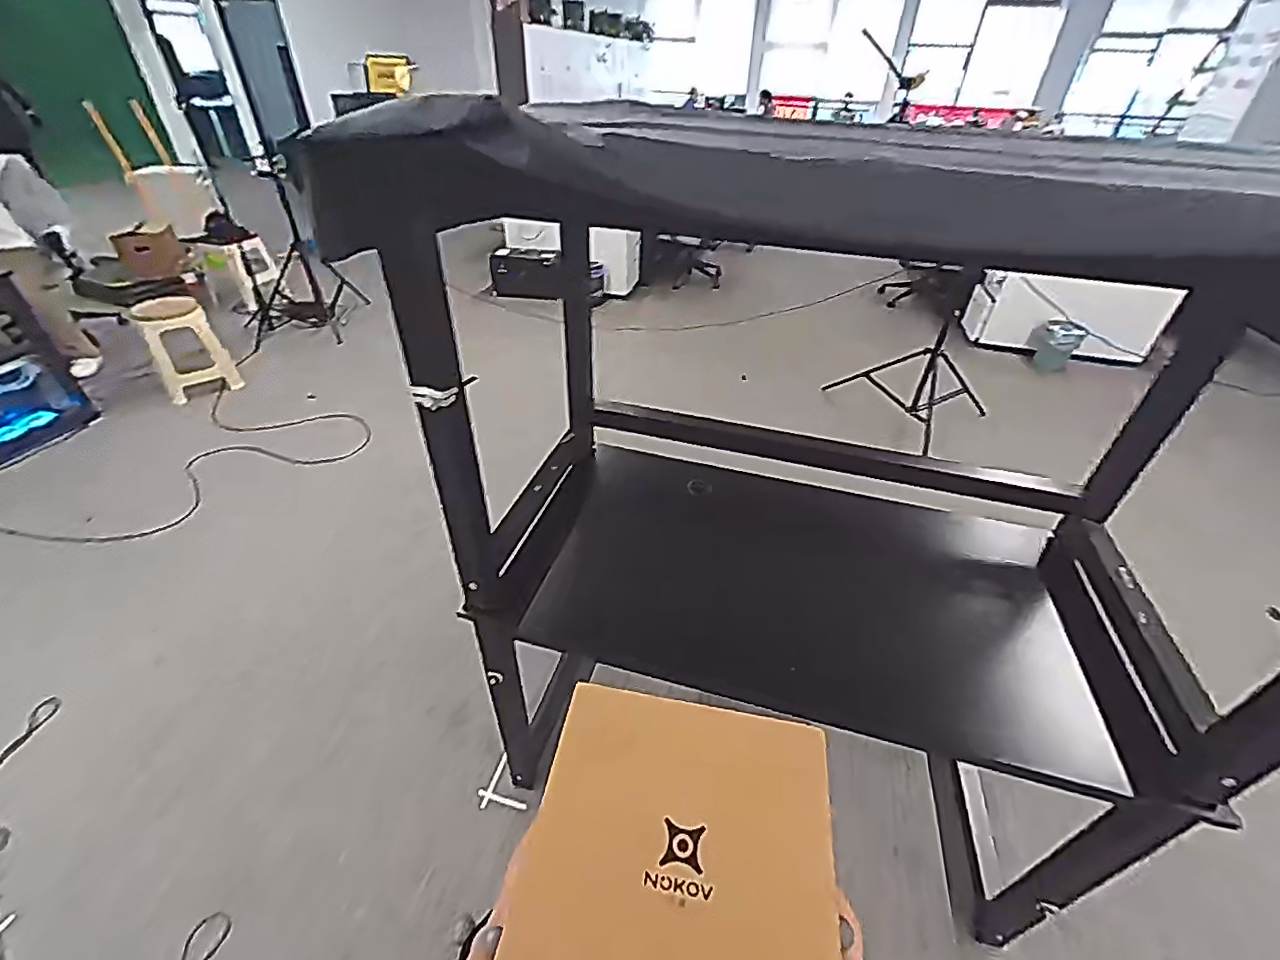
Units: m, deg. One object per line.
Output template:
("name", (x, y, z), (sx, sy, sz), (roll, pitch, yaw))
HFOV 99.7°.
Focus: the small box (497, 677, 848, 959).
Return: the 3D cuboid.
("small box", (0.021, 0.258, 0.339), (0.168, 0.176, 0.179), (8, 41, 7))
